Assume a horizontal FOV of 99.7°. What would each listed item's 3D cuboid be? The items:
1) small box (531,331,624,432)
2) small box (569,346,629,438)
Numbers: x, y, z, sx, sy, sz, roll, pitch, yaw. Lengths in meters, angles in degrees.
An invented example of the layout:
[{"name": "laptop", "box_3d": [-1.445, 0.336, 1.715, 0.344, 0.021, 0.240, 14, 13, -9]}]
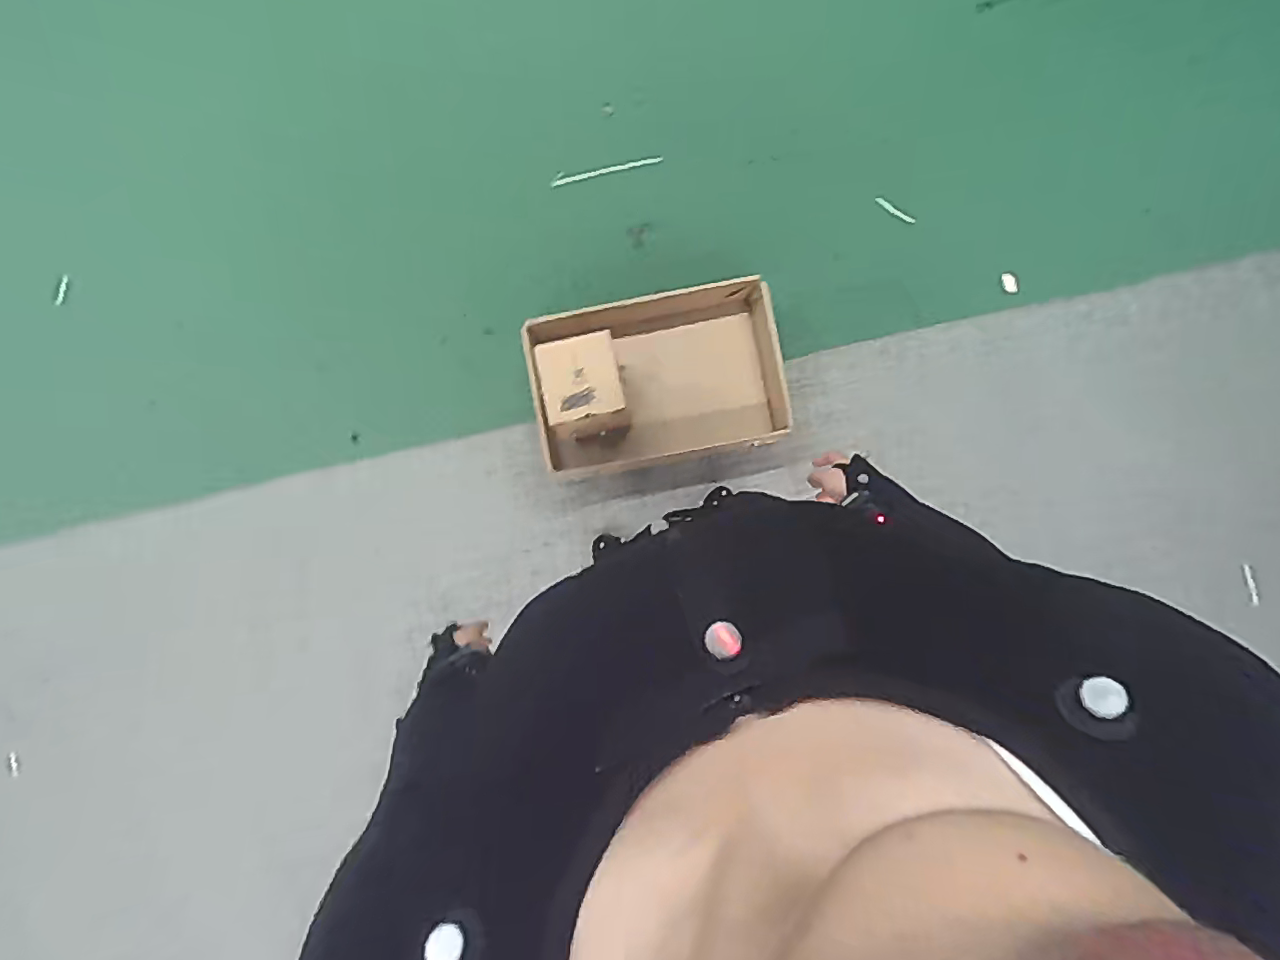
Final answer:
[{"name": "small box", "box_3d": [-0.131, -0.209, 1.204, 0.168, 0.176, 0.179, -13, 87, -1]}, {"name": "small box", "box_3d": [-0.126, -0.216, 1.369, 0.168, 0.176, 0.179, -14, 88, 1]}]
